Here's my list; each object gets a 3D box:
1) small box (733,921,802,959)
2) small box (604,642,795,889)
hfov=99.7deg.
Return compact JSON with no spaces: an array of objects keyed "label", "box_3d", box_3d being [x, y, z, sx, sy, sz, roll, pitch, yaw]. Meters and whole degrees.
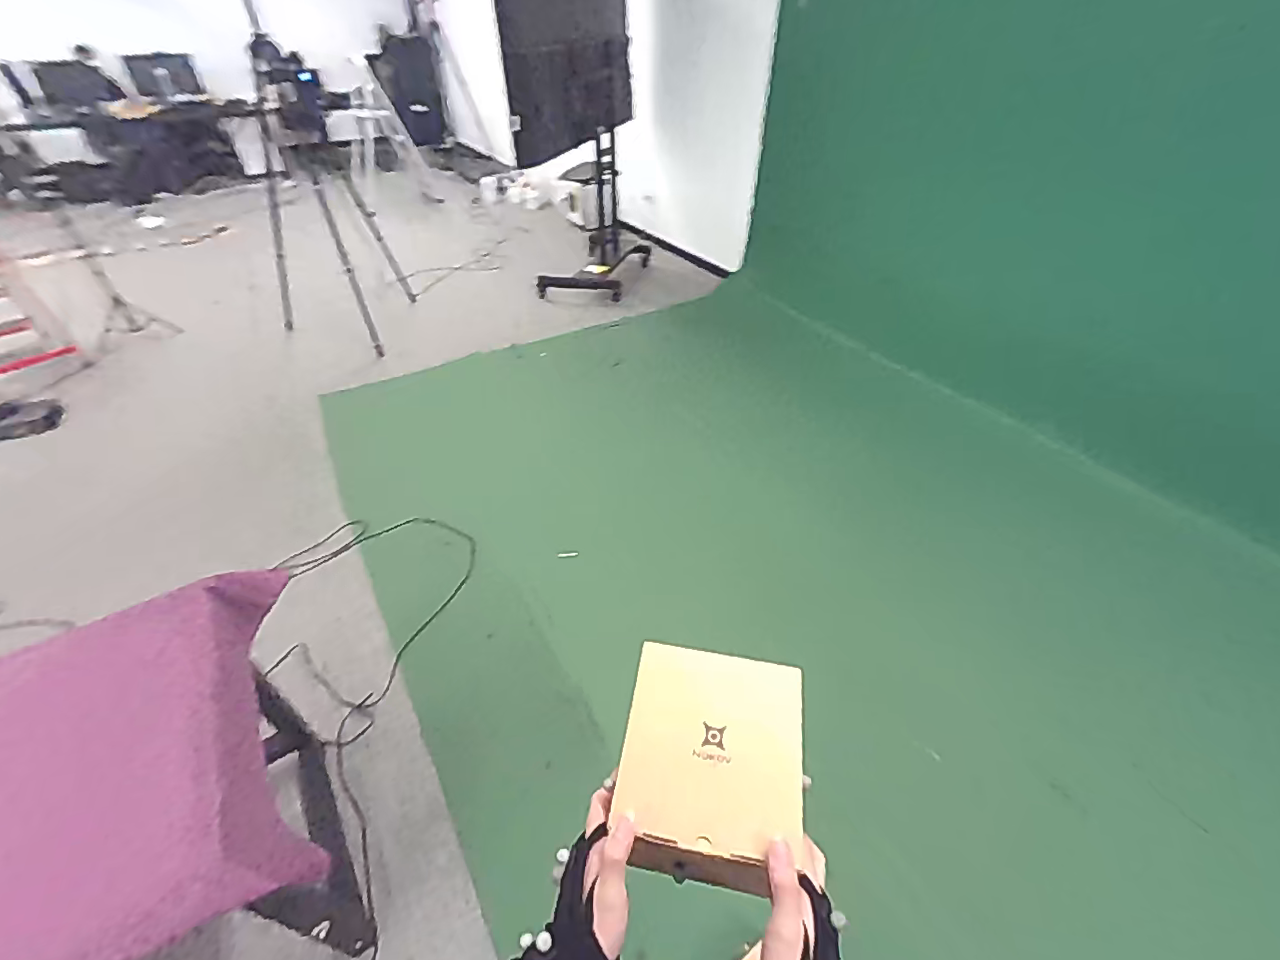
[{"label":"small box","box_3d":[0.265,1.089,1.135,0.179,0.176,0.168,-23,47,-26]},{"label":"small box","box_3d":[0.060,0.299,0.566,0.168,0.176,0.179,8,49,6]}]
